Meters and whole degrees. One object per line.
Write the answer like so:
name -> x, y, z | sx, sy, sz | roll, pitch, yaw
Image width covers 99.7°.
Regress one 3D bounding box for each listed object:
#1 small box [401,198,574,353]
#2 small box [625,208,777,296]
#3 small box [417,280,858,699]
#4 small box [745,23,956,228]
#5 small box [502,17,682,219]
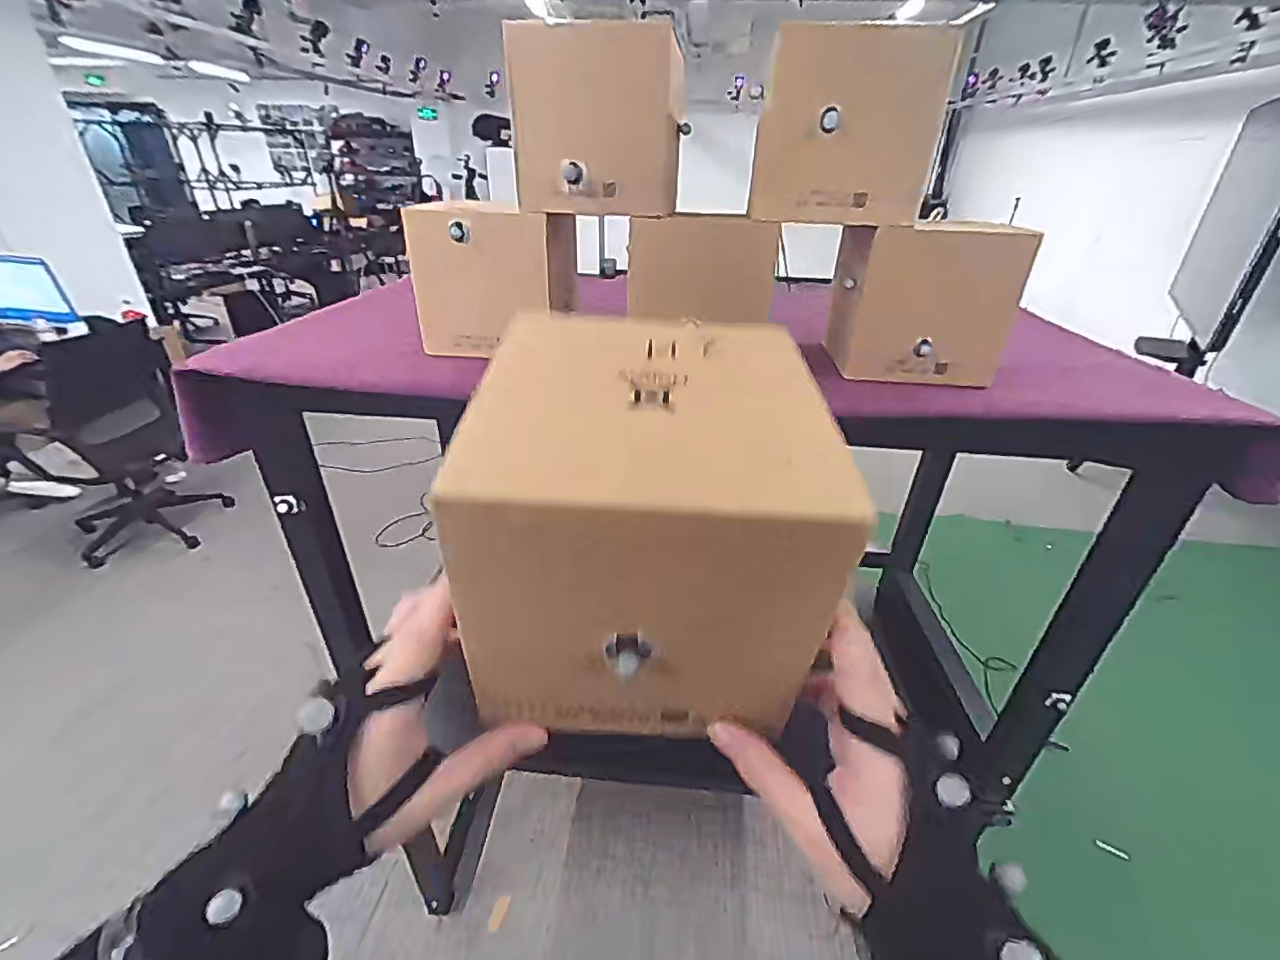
small box -> -0.182, -0.265, 0.702 | 0.168, 0.176, 0.179 | 4, 28, 3
small box -> 0.070, -0.247, 0.688 | 0.168, 0.176, 0.179 | 4, 30, 4
small box -> -0.002, 0.003, 0.309 | 0.168, 0.176, 0.179 | 4, 39, -2
small box -> 0.211, -0.376, 0.598 | 0.168, 0.176, 0.179 | 5, 29, 5
small box -> -0.045, -0.400, 0.620 | 0.168, 0.176, 0.179 | 5, 30, 6
